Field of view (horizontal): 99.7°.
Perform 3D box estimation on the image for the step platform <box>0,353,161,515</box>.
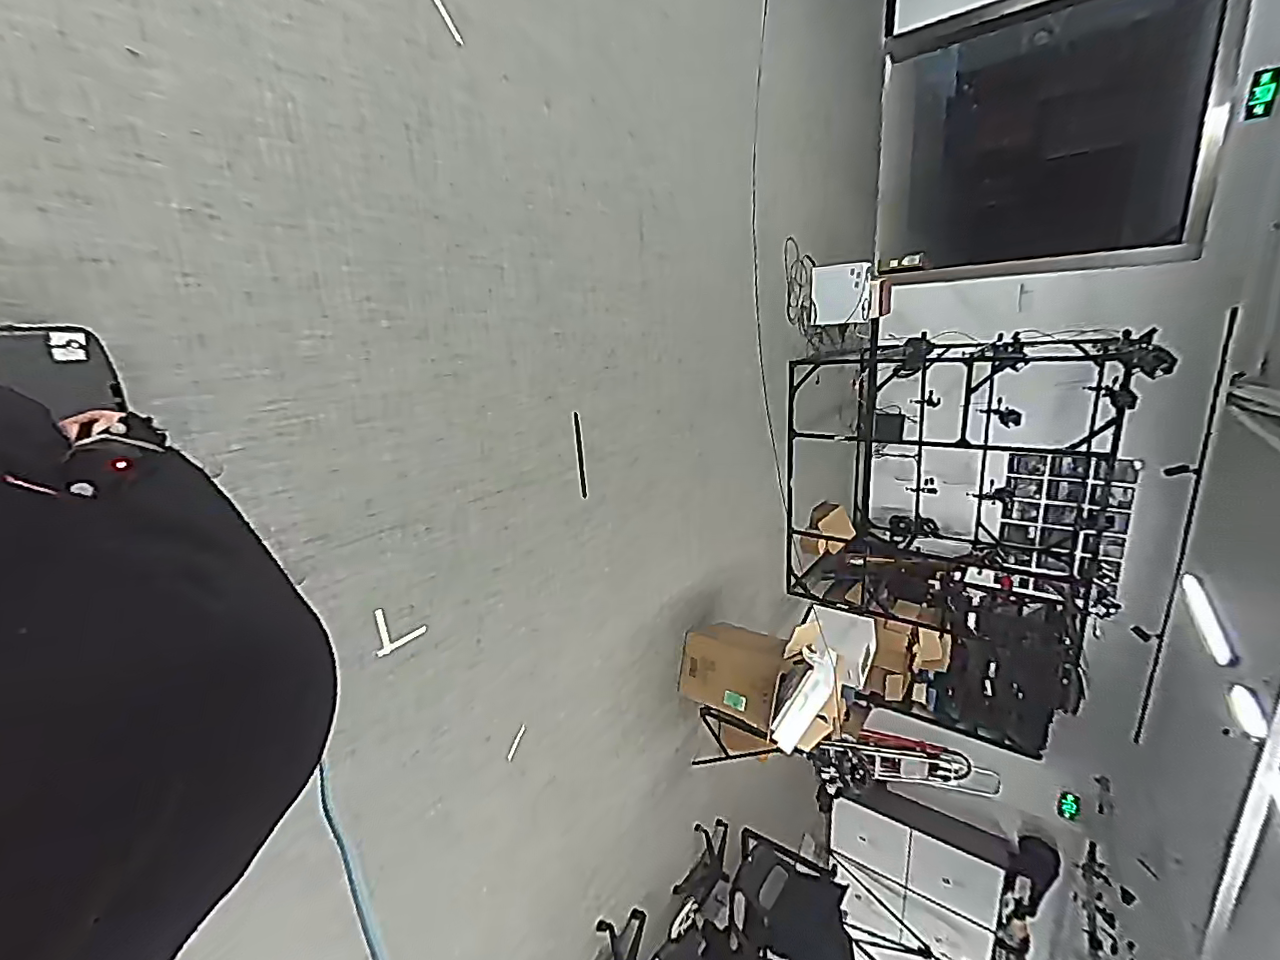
[{"bbox_3d":[-1.237,-0.066,0.877,0.684,0.204,0.286,-16,108,-53],"label":"step platform"}]
